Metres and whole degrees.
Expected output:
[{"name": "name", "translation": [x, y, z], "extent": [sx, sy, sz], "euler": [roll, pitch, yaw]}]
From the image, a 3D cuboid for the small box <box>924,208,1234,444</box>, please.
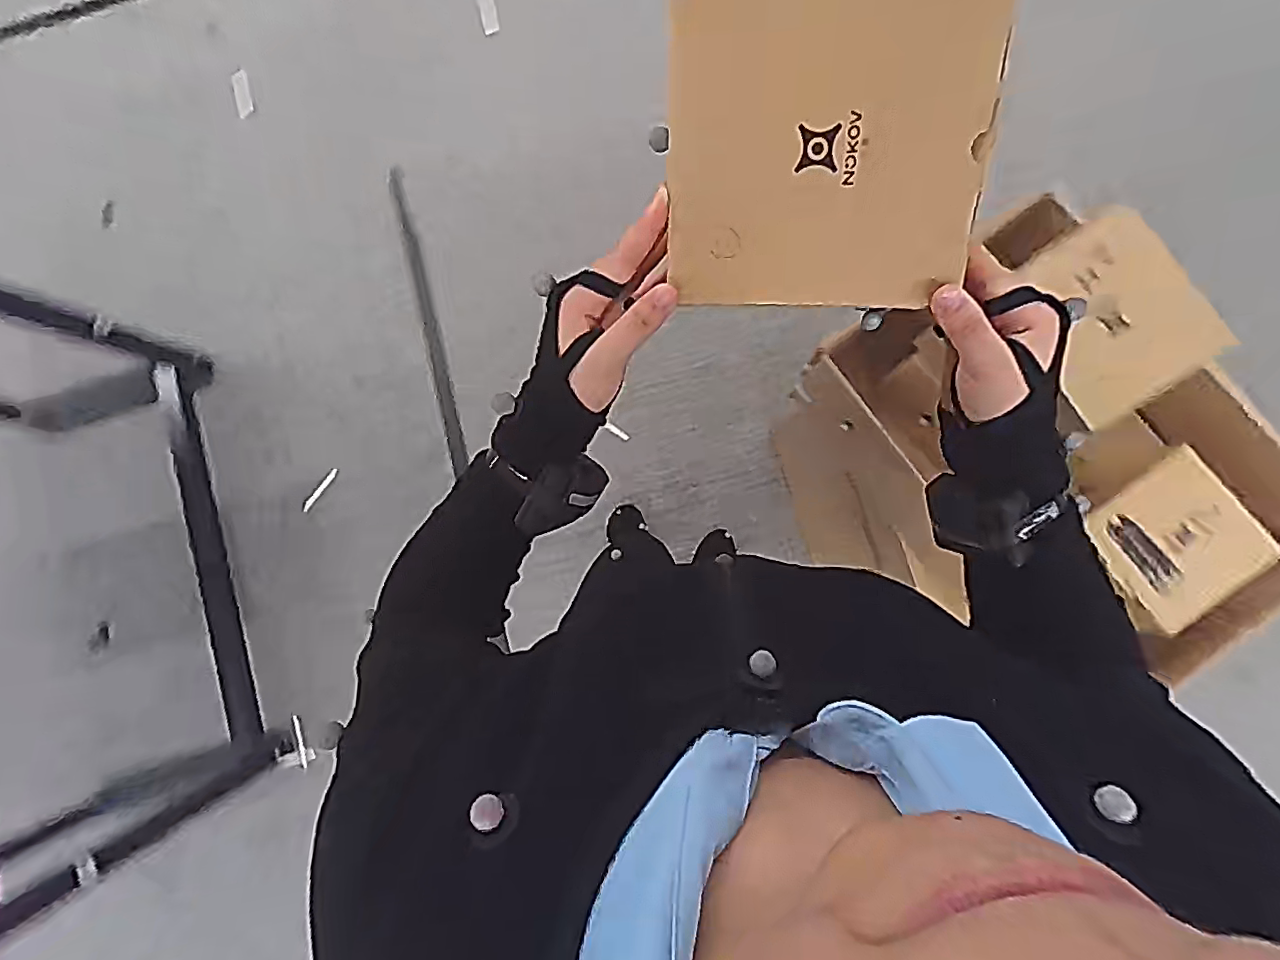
[{"name": "small box", "translation": [0.469, -0.153, 0.612], "extent": [0.168, 0.176, 0.179], "euler": [-32, 84, 0]}]
